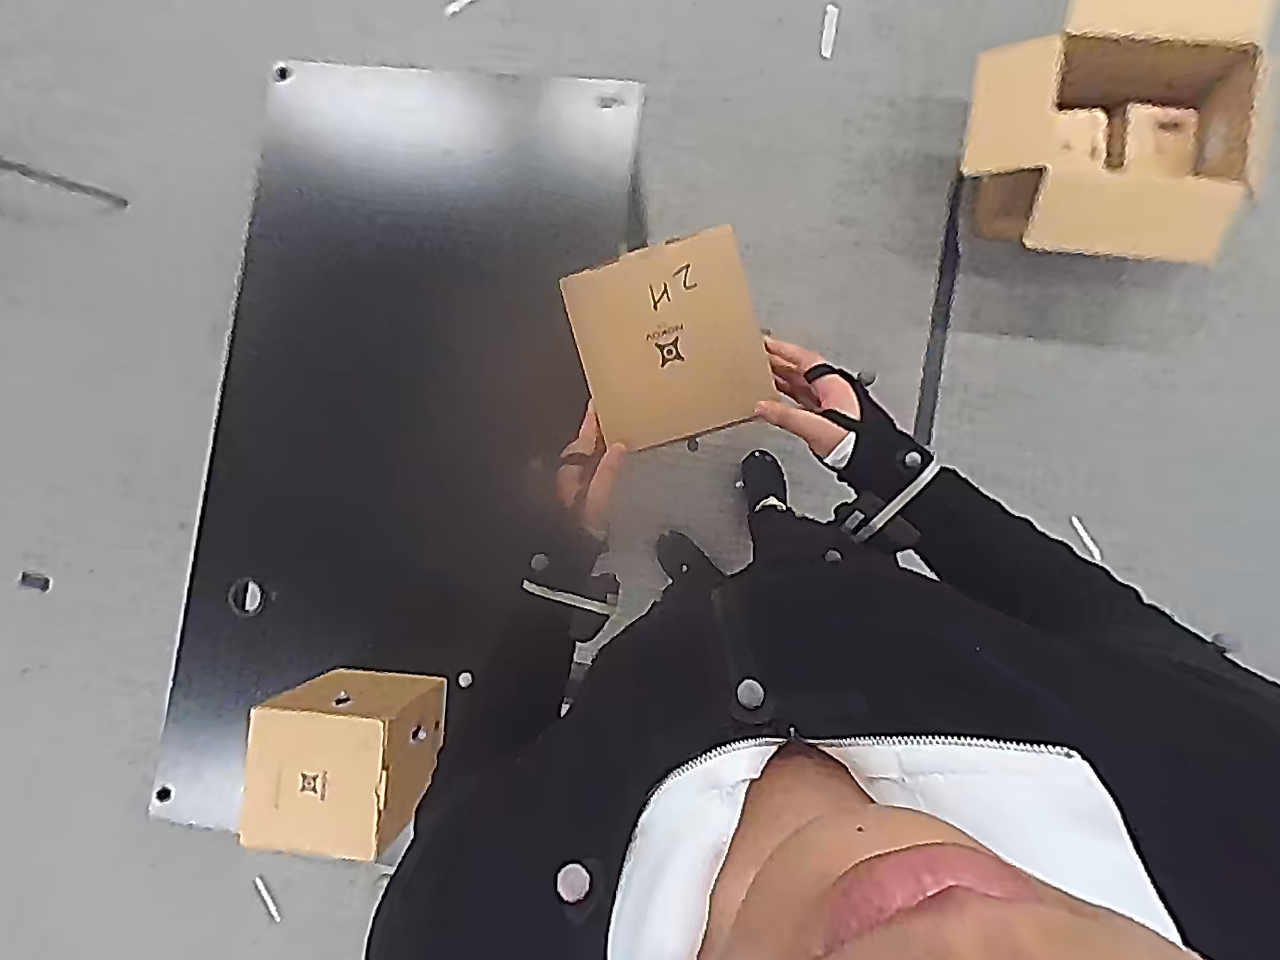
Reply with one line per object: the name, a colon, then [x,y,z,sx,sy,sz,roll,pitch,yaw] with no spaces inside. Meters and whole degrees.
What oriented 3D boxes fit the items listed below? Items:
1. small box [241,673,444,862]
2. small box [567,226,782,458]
small box: [-0.382,0.369,0.725,0.179,0.176,0.168,2,86,6]
small box: [0.040,-0.129,0.571,0.168,0.176,0.179,-15,91,7]
